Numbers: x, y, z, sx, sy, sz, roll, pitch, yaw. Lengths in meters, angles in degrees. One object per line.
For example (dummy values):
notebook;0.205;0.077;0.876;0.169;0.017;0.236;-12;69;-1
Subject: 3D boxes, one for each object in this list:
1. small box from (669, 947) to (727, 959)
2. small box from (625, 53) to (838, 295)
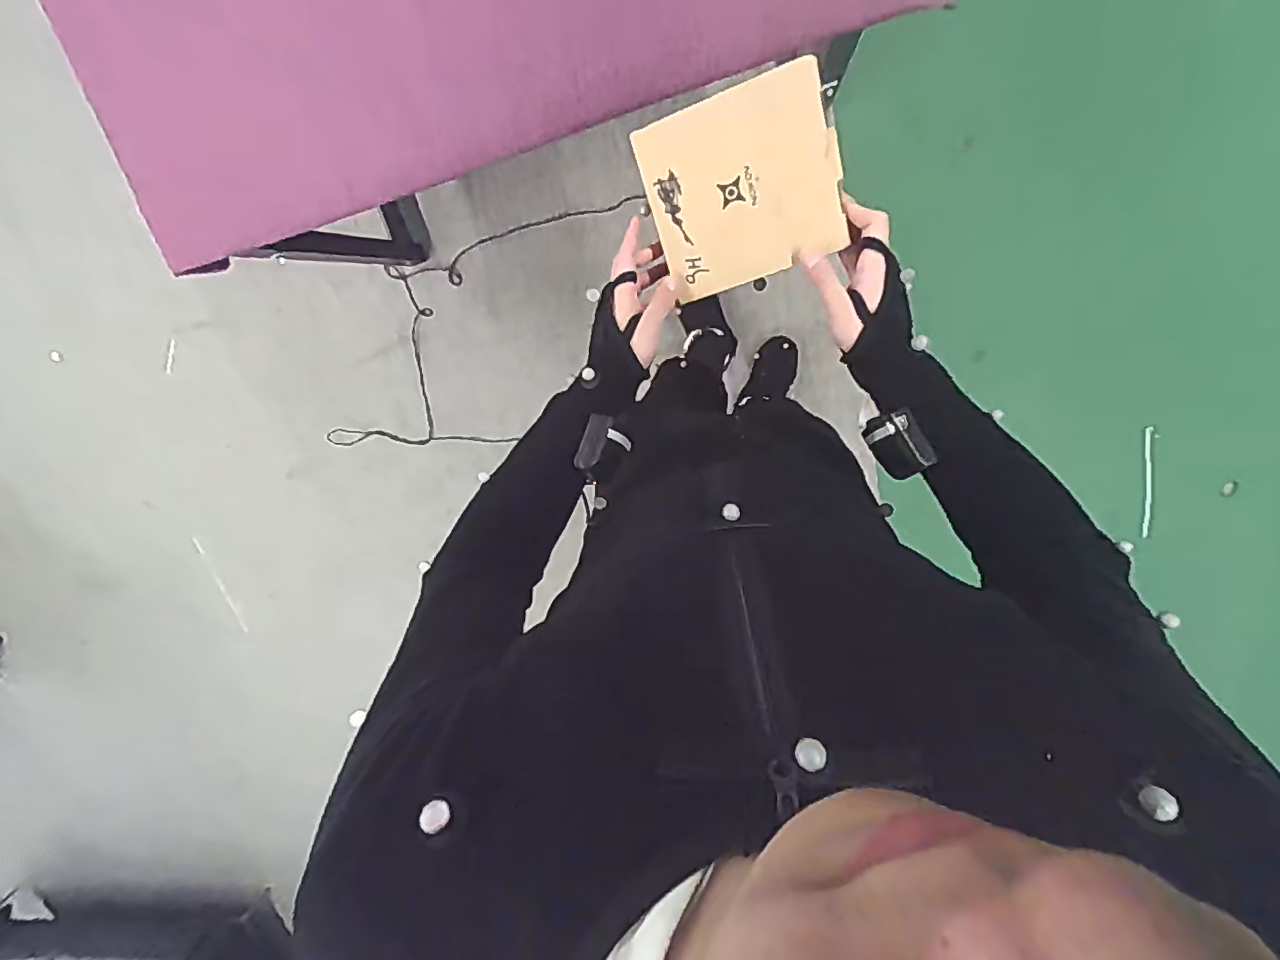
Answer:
small box;0.161;1.473;1.527;0.179;0.176;0.168;-2;110;14
small box;0.101;-0.316;0.594;0.179;0.176;0.168;-13;109;16
